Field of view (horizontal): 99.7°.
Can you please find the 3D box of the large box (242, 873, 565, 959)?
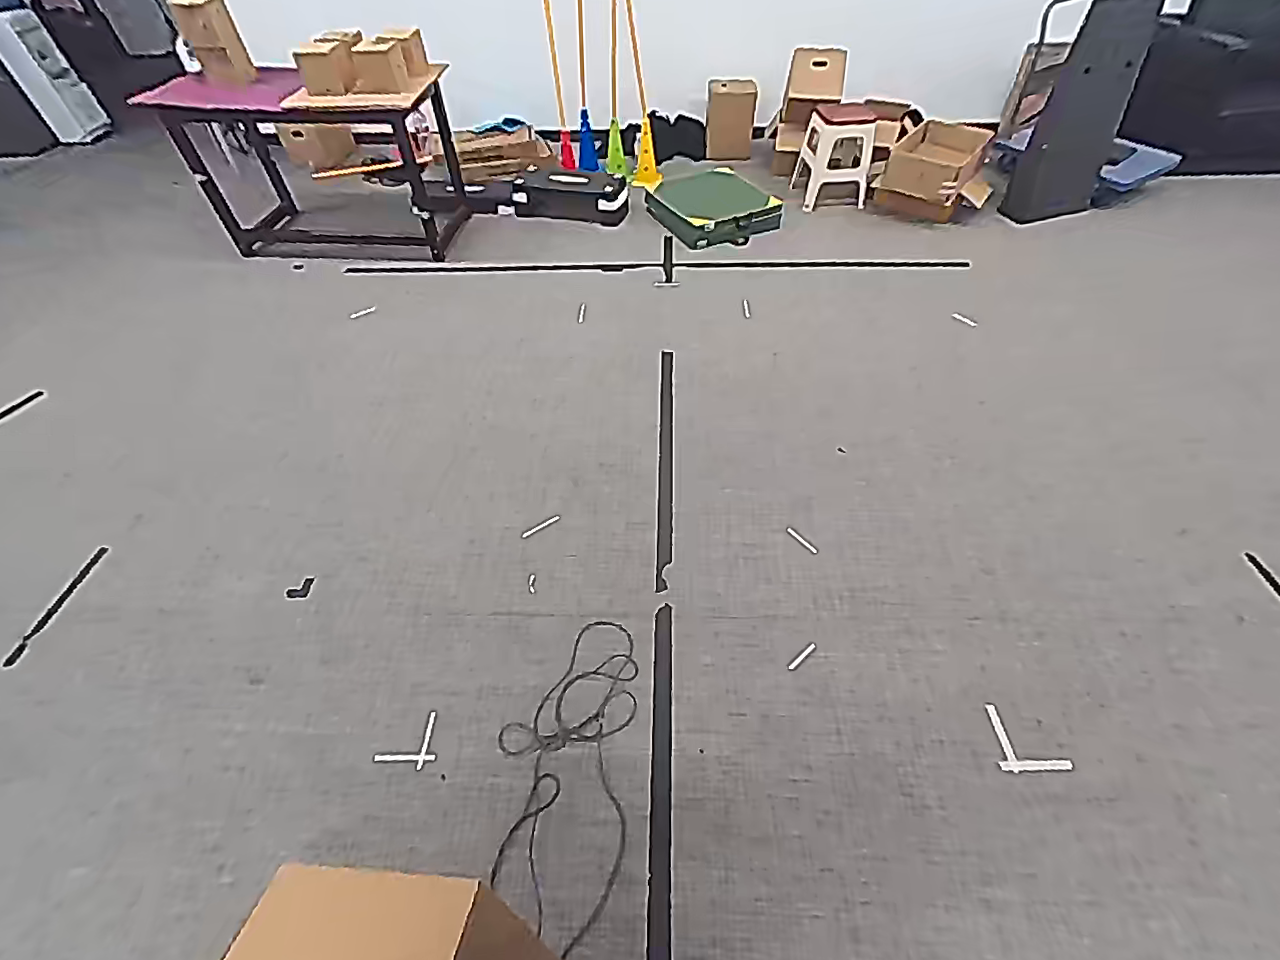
[{"bbox_3d":[-0.294,0.747,0.667,0.320,0.408,0.320,-7,33,18],"label":"large box"}]
